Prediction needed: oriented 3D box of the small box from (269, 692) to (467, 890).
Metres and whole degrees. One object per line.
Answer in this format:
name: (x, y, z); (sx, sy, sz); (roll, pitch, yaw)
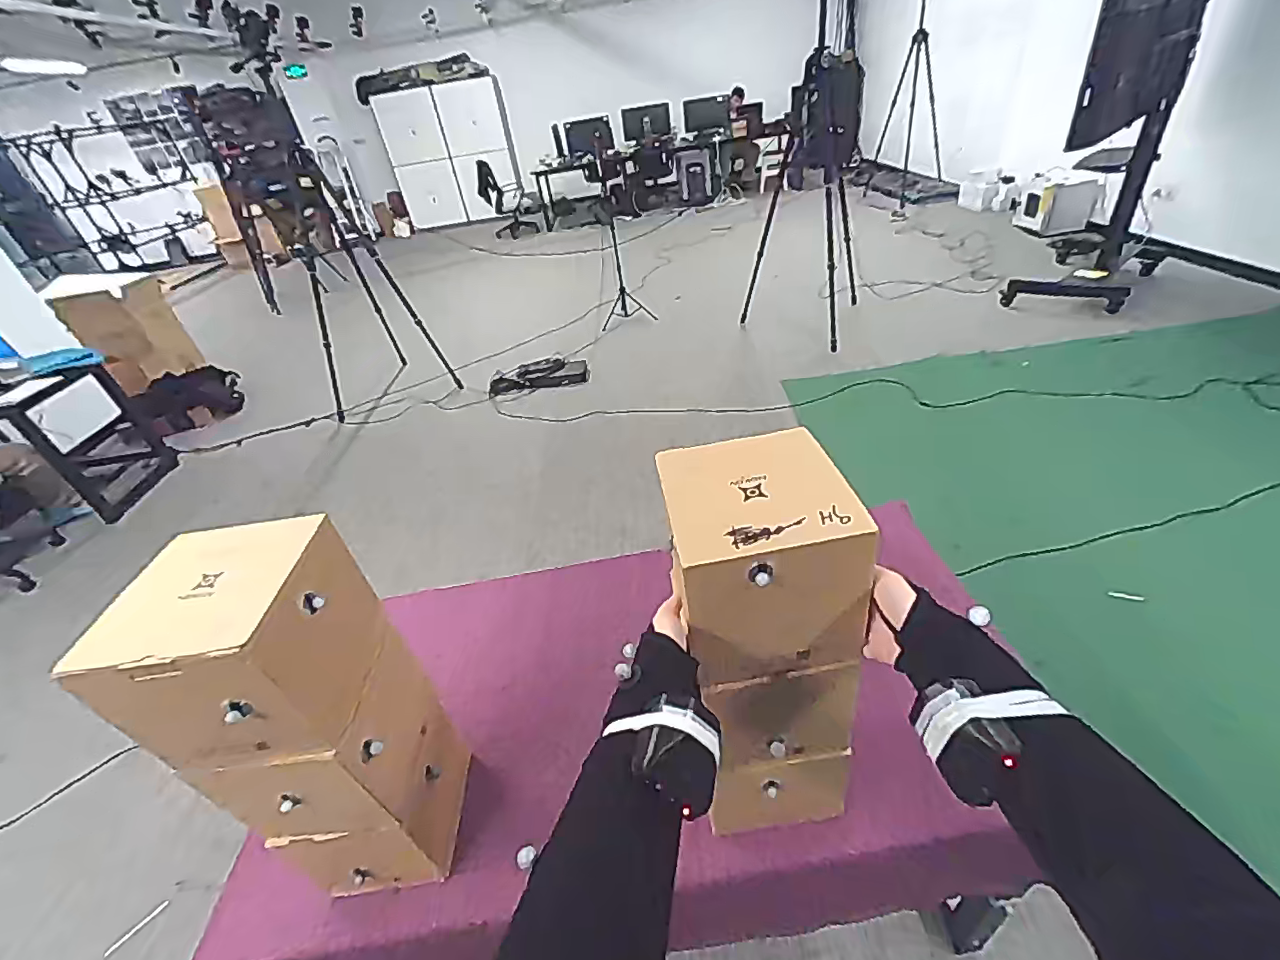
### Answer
small box: (-0.353, 0.427, 0.748); (0.168, 0.176, 0.179); (-9, 37, 1)

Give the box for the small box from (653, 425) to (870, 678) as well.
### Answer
small box: (0.112, 0.069, 0.552); (0.168, 0.176, 0.179); (-11, 35, 1)

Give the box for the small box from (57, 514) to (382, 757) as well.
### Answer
small box: (-0.398, 0.163, 0.559); (0.168, 0.176, 0.179); (-8, 36, 2)

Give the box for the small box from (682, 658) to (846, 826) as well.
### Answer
small box: (0.161, 0.341, 0.733); (0.179, 0.176, 0.168); (-9, 37, 2)

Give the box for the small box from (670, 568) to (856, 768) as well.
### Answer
small box: (0.135, 0.205, 0.643); (0.168, 0.176, 0.179); (-12, 36, 0)
